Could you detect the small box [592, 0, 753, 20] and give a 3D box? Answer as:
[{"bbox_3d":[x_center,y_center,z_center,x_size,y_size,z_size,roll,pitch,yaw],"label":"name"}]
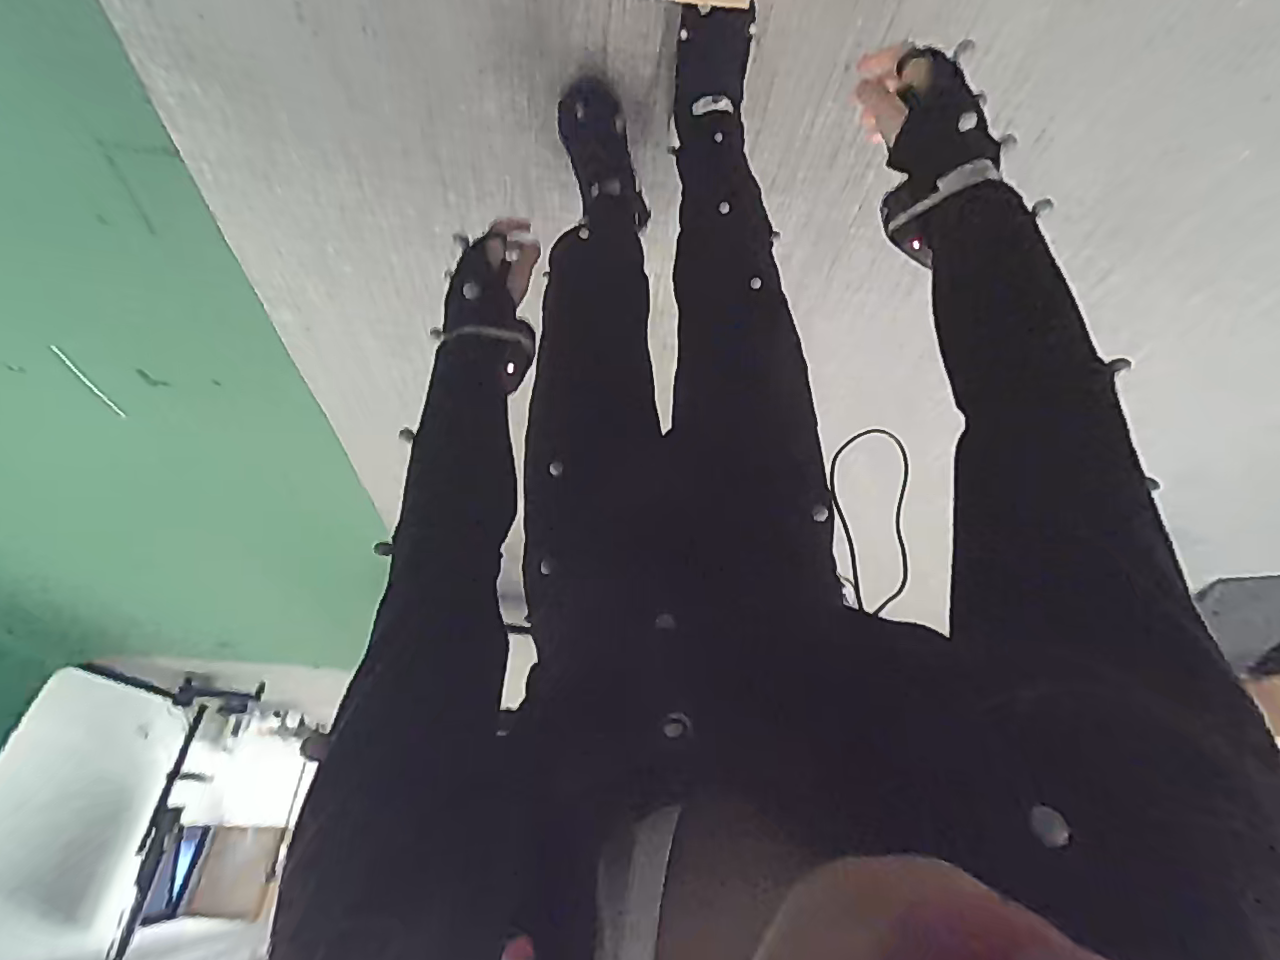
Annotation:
[{"bbox_3d":[0.041,-0.614,0.555,0.179,0.176,0.168,5,147,-3],"label":"small box"}]
